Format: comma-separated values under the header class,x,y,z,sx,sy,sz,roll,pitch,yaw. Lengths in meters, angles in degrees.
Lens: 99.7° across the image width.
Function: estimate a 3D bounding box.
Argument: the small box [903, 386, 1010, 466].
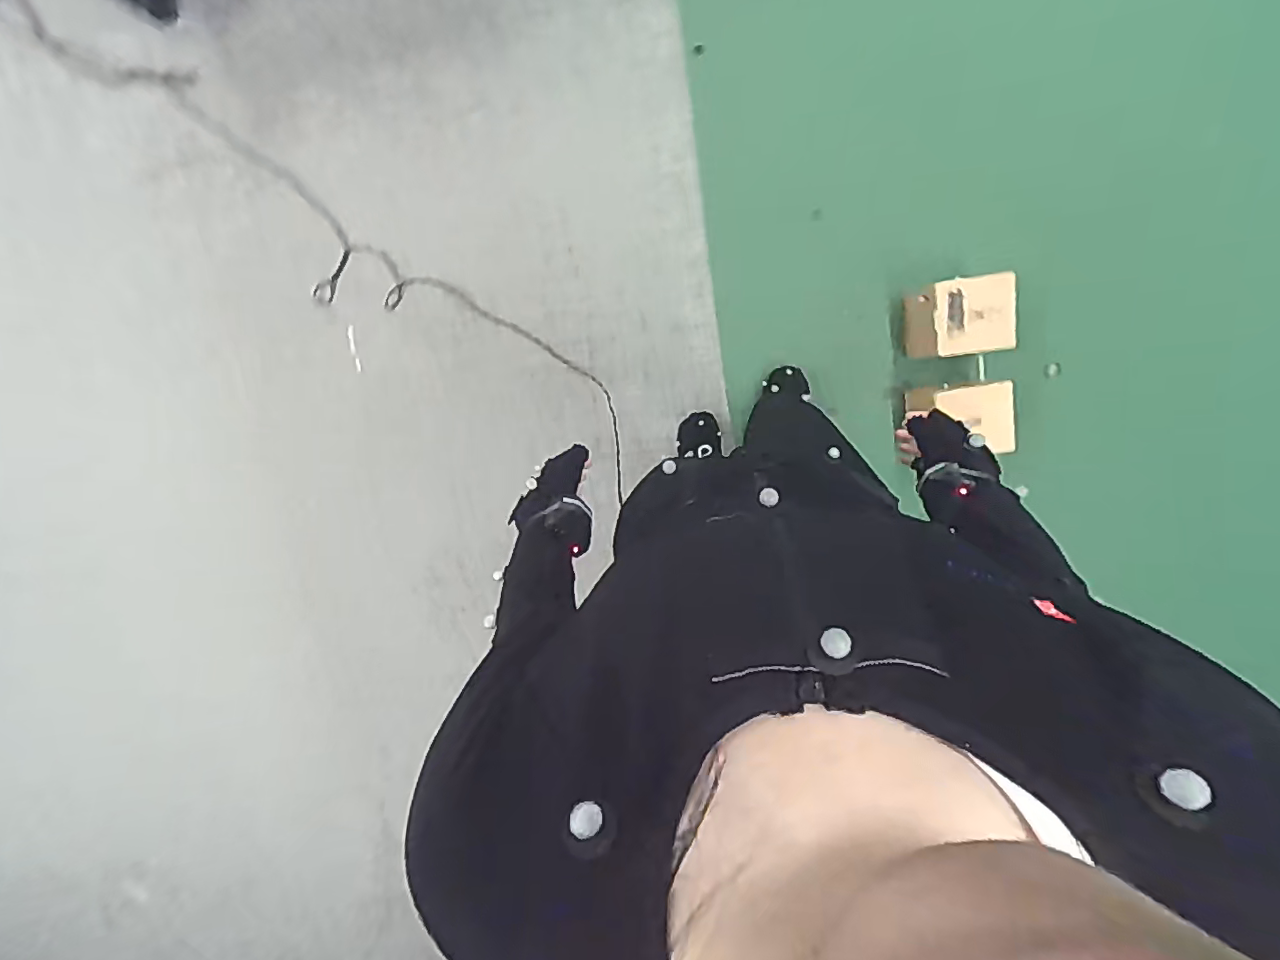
class,x,y,z,sx,sy,sz,roll,pitch,yaw
small box,0.786,-0.141,1.355,0.179,0.176,0.168,-9,101,6
